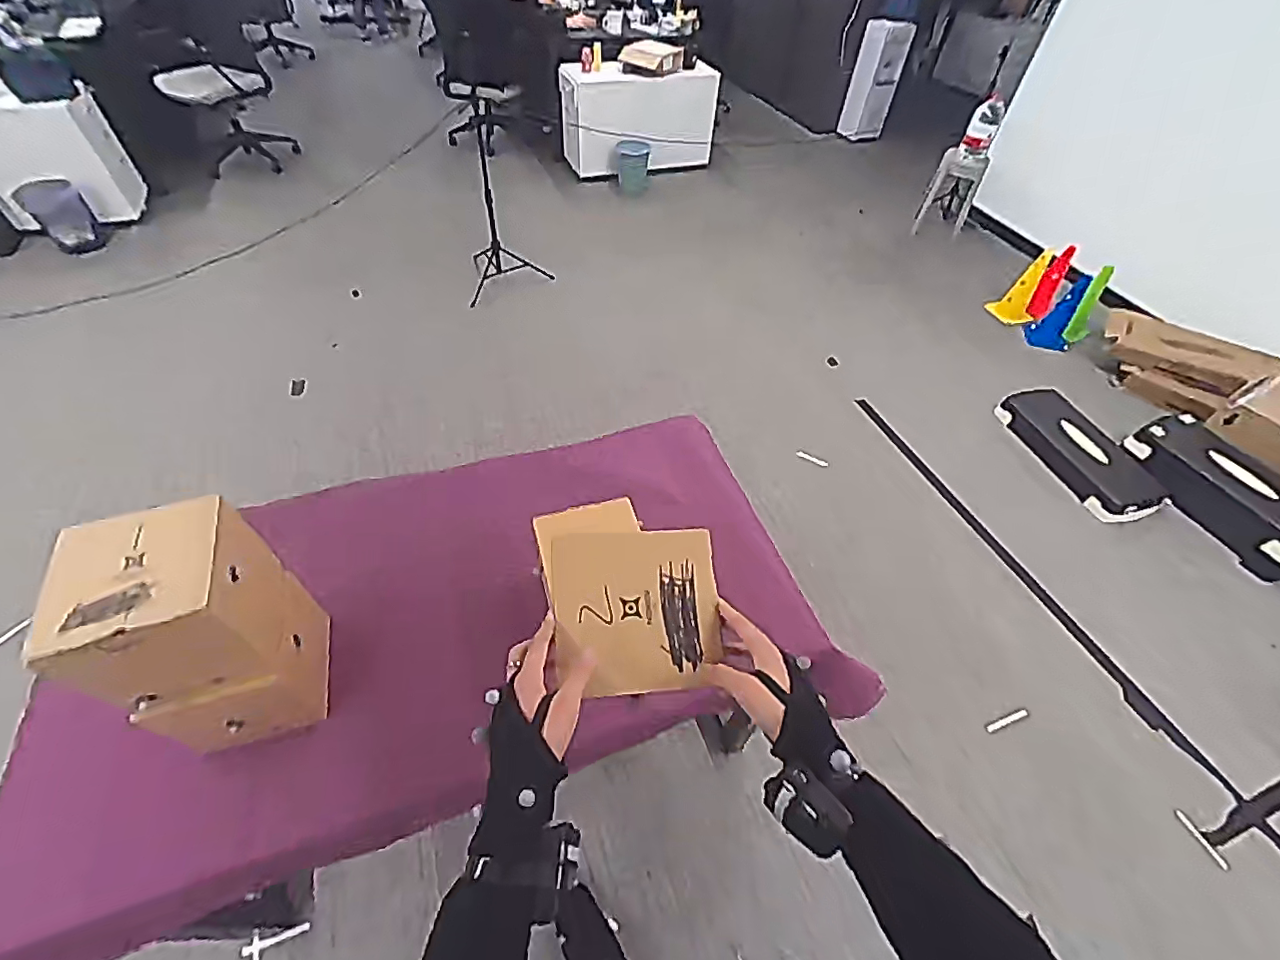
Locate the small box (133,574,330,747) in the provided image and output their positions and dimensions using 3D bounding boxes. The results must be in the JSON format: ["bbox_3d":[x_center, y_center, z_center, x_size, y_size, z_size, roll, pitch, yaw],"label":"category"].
[{"bbox_3d":[-0.571,0.267,0.787,0.168,0.176,0.179,-12,52,-14],"label":"small box"}]

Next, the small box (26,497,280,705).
[{"bbox_3d":[-0.570,0.155,0.667,0.168,0.176,0.179,-15,52,-17],"label":"small box"}]

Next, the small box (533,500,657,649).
[{"bbox_3d":[-0.076,0.165,0.911,0.168,0.176,0.179,-12,51,-13],"label":"small box"}]
